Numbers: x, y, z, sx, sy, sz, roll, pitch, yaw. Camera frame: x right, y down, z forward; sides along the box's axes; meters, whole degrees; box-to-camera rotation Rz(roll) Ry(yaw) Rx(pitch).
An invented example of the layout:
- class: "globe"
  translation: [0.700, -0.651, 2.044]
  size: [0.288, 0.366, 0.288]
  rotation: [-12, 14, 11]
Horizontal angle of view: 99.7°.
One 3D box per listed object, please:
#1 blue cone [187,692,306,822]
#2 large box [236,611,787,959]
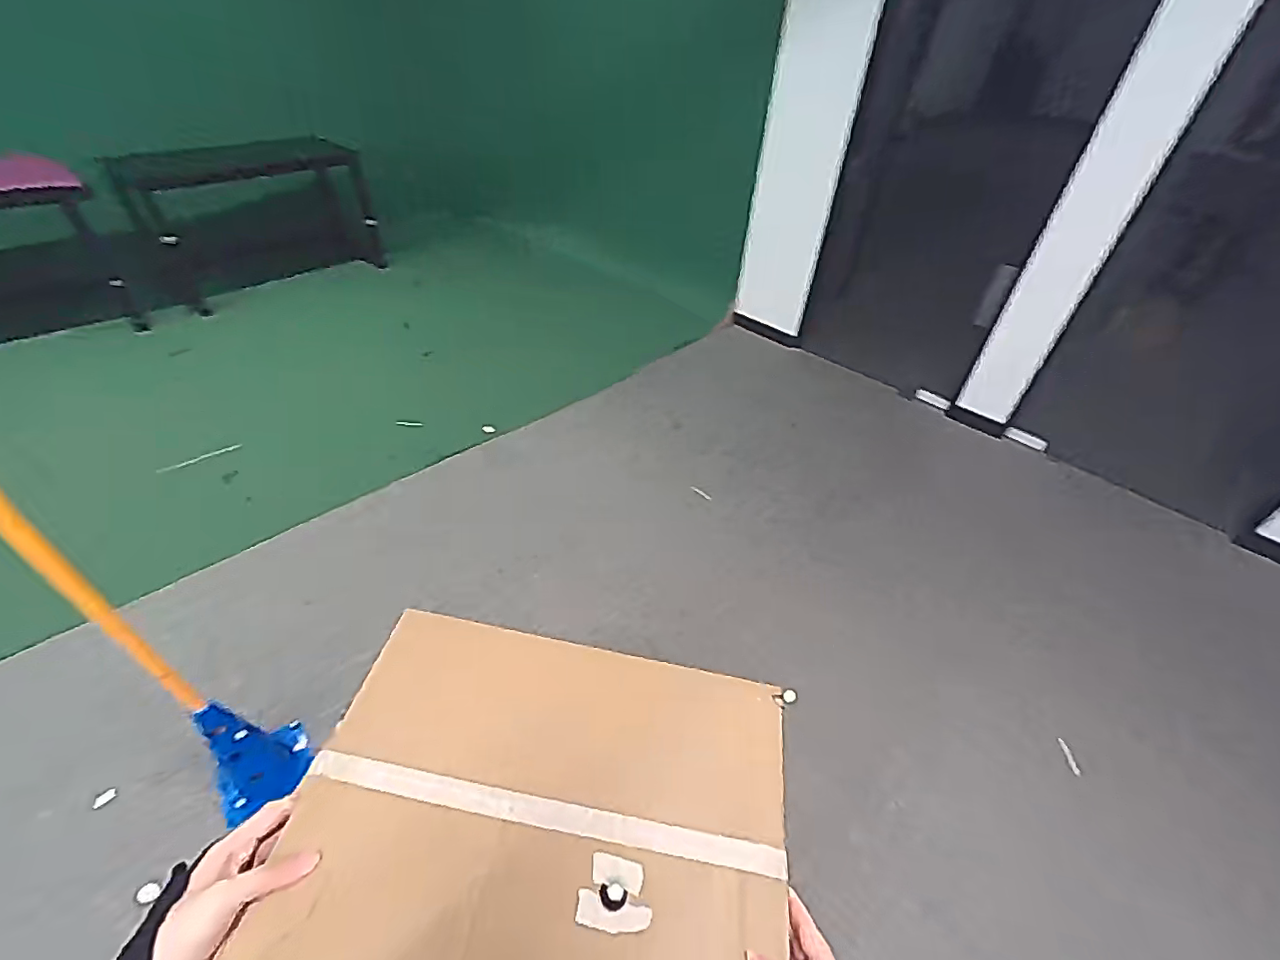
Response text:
- class: "blue cone"
  translation: [-0.959, 0.620, 1.276]
  size: [0.193, 0.380, 0.192]
  rotation: [-23, 47, -28]
- class: "large box"
  translation: [-0.089, 0.387, 0.575]
  size: [0.408, 0.320, 0.320]
  rotation: [12, 45, 2]
